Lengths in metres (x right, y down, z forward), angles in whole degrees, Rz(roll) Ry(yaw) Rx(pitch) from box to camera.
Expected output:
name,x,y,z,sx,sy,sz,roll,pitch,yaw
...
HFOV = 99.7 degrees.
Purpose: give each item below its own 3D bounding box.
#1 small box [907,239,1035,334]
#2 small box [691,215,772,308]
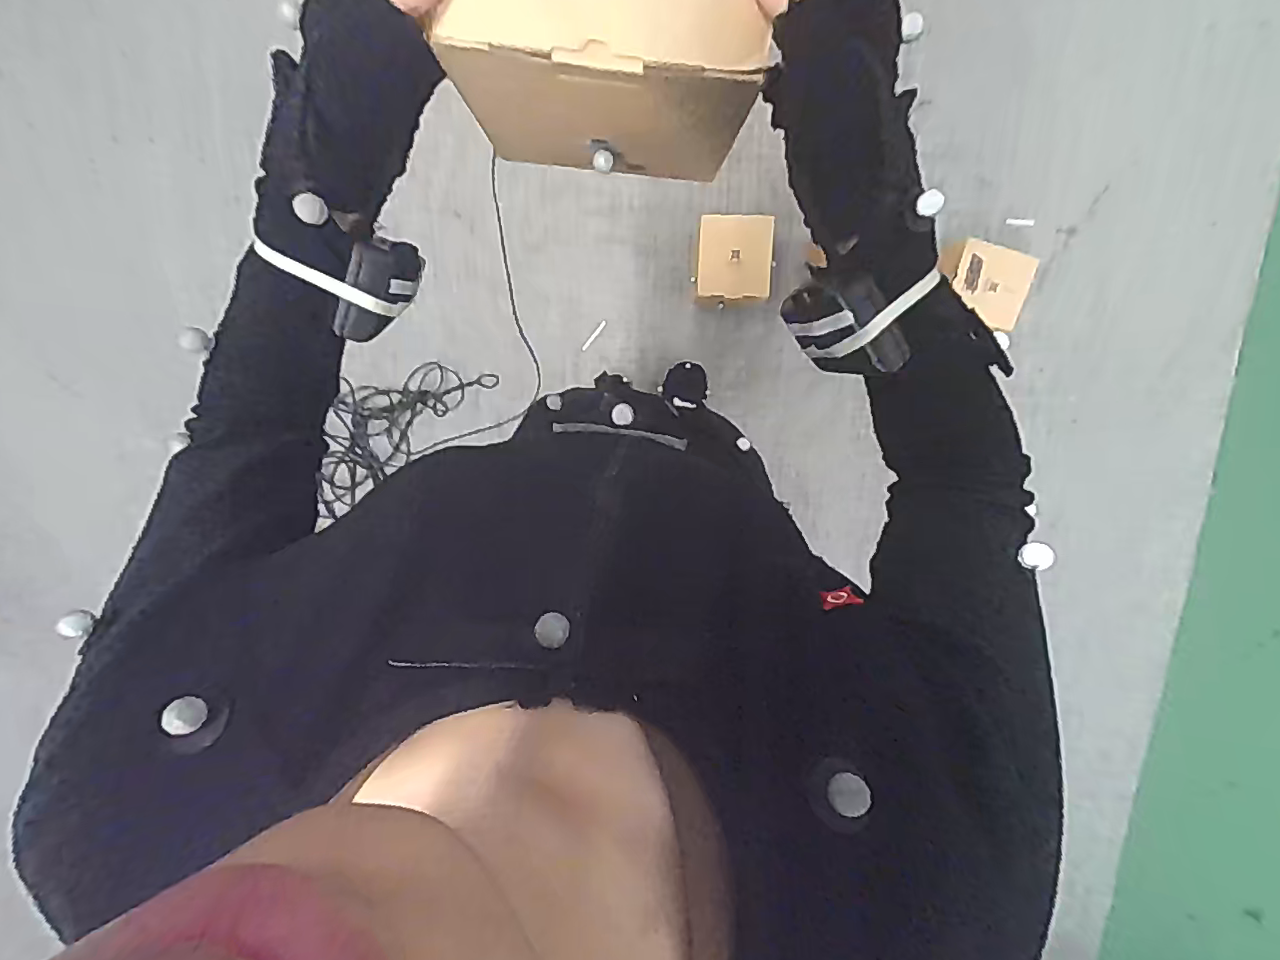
name,x,y,z,sx,sy,sz,roll,pitch,yaw
small box,0.778,-0.453,1.295,0.179,0.176,0.168,15,102,-4
small box,0.211,-0.515,1.292,0.168,0.176,0.179,1,102,1
